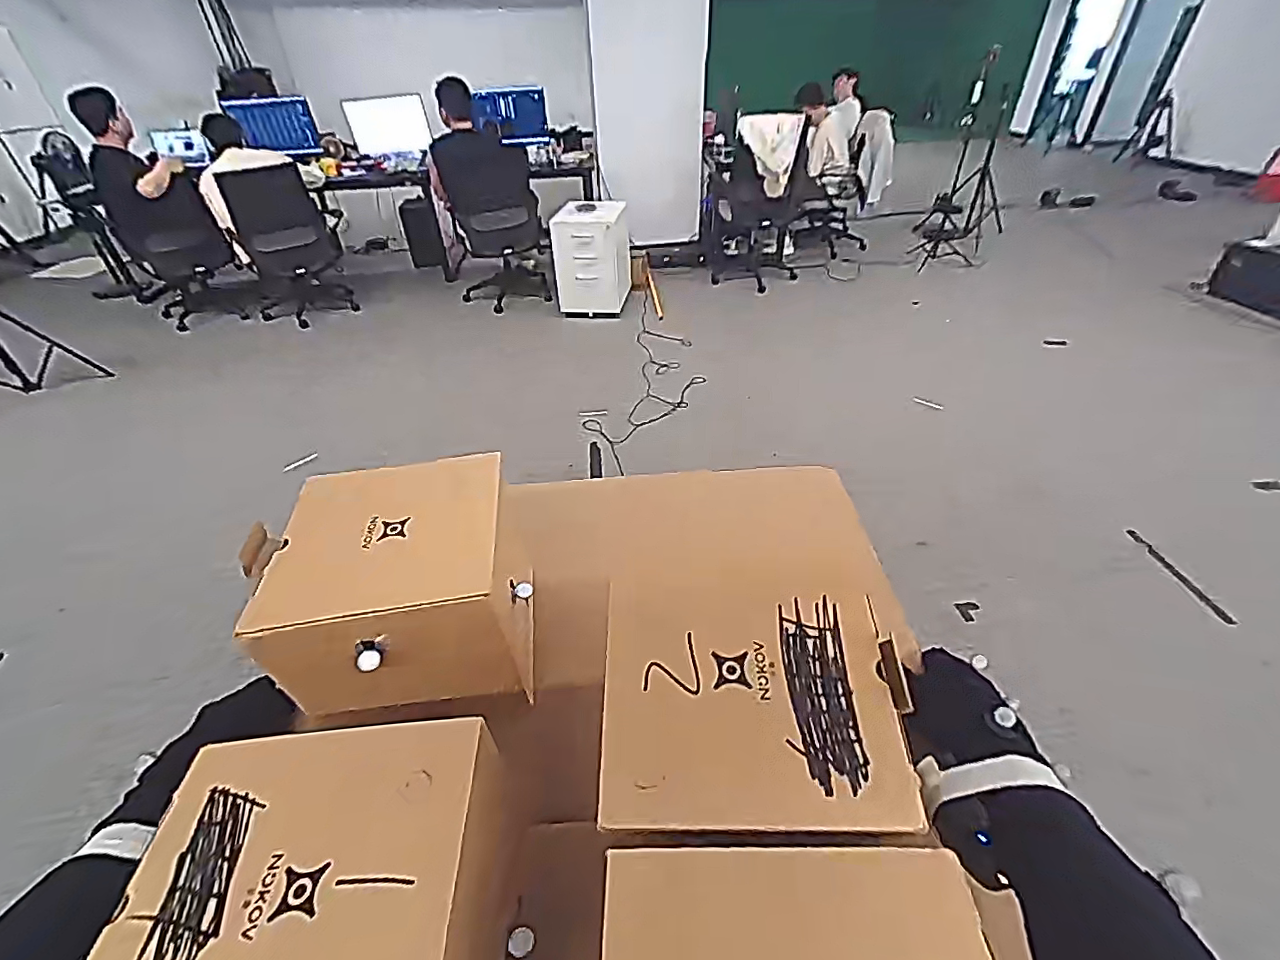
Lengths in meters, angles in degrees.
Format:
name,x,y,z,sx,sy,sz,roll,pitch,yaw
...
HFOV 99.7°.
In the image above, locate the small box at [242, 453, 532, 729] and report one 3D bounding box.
name,x,y,z,sx,sy,sz,roll,pitch,yaw
small box,-0.198,0.100,0.492,0.179,0.176,0.168,-9,40,-4
